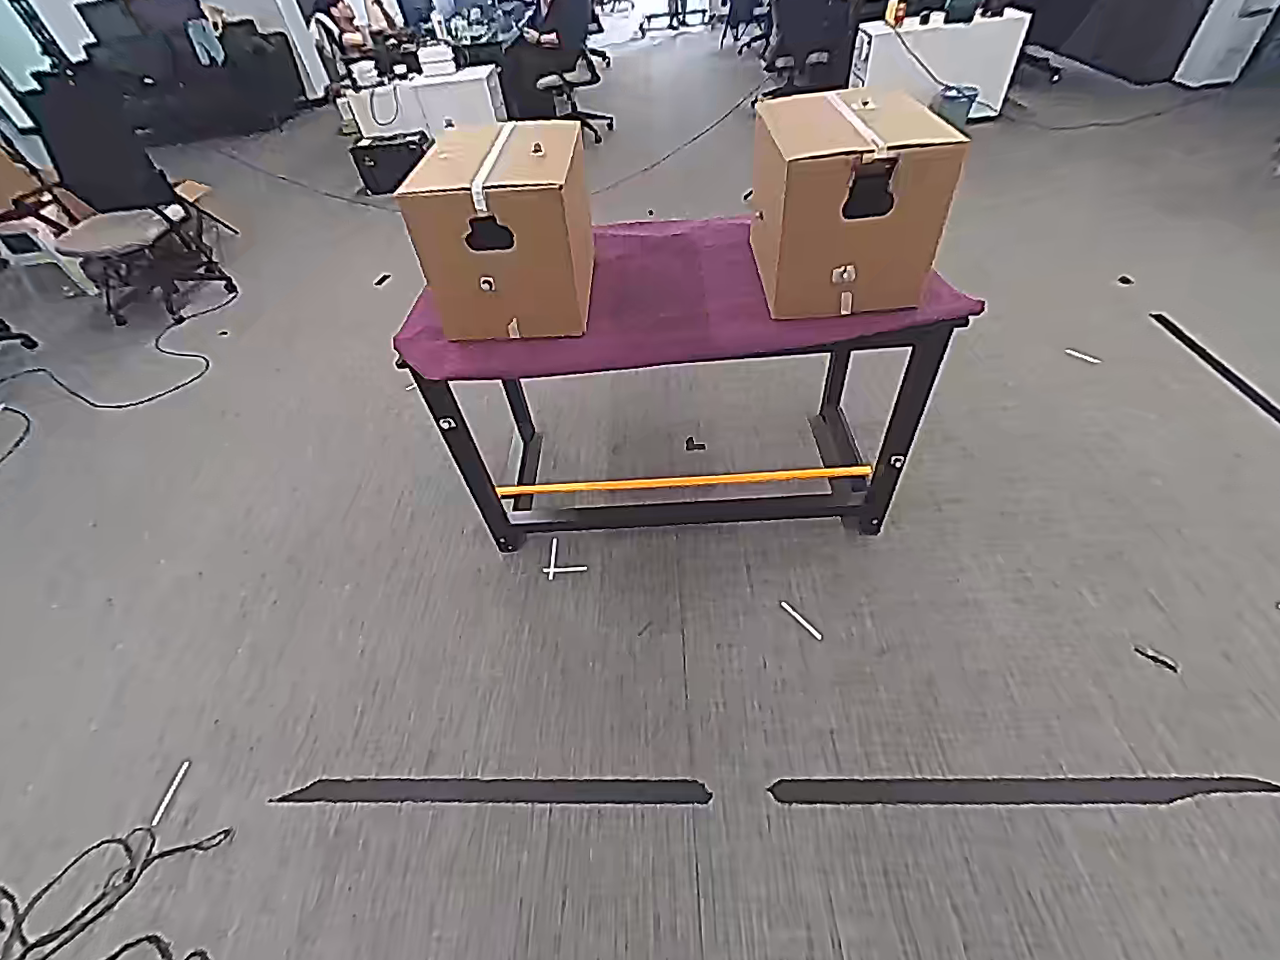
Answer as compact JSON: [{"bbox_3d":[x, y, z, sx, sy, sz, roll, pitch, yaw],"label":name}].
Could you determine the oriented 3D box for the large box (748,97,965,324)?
[{"bbox_3d":[0.419,-0.585,1.171,0.320,0.320,0.408,-4,46,4],"label":"large box"}]
